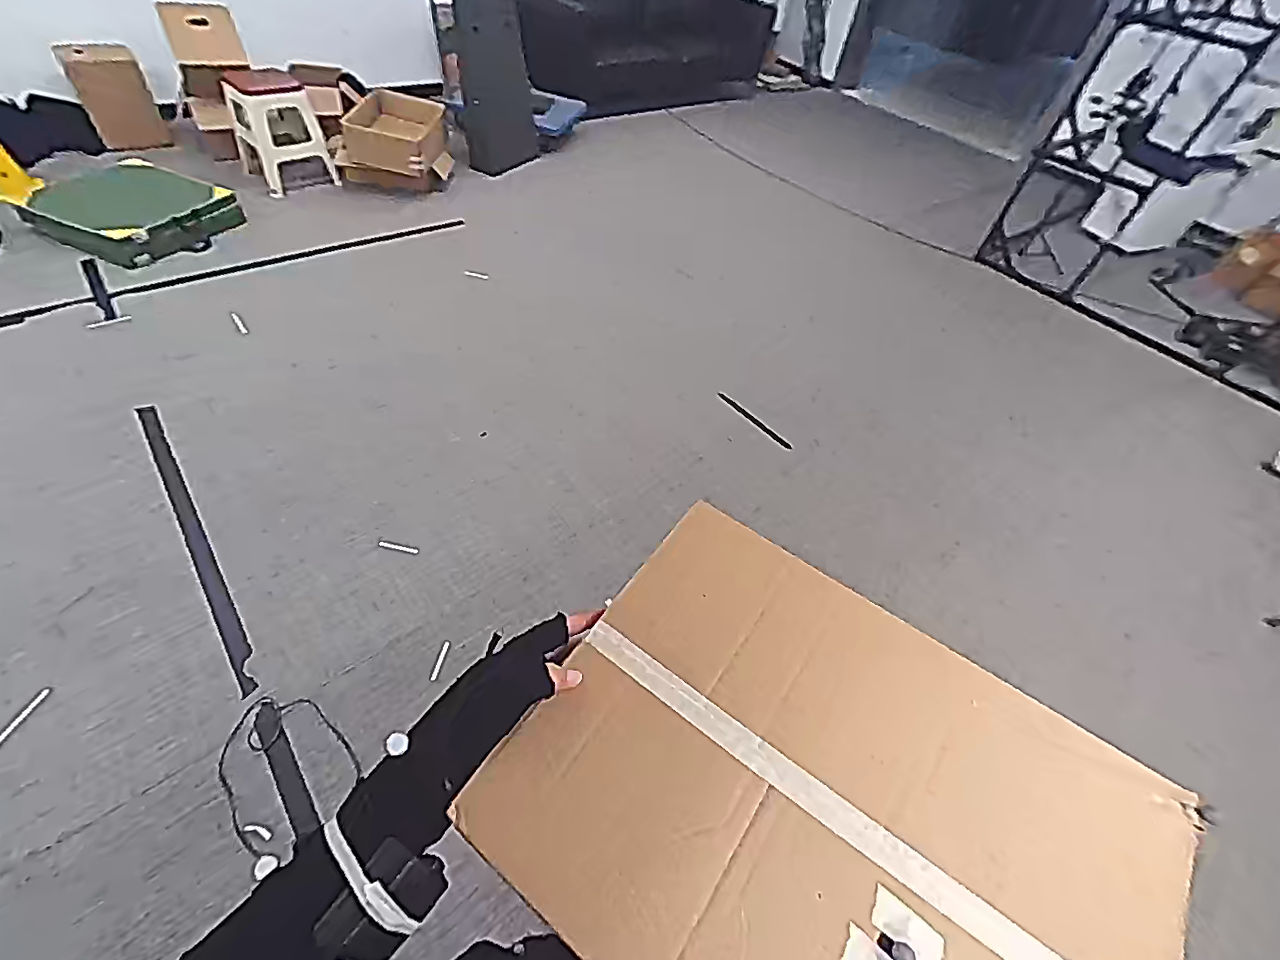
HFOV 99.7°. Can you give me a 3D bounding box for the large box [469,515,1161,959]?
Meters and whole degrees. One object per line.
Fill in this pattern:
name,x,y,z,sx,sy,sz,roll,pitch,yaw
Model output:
large box,0.123,0.310,0.501,0.408,0.320,0.320,32,61,20
